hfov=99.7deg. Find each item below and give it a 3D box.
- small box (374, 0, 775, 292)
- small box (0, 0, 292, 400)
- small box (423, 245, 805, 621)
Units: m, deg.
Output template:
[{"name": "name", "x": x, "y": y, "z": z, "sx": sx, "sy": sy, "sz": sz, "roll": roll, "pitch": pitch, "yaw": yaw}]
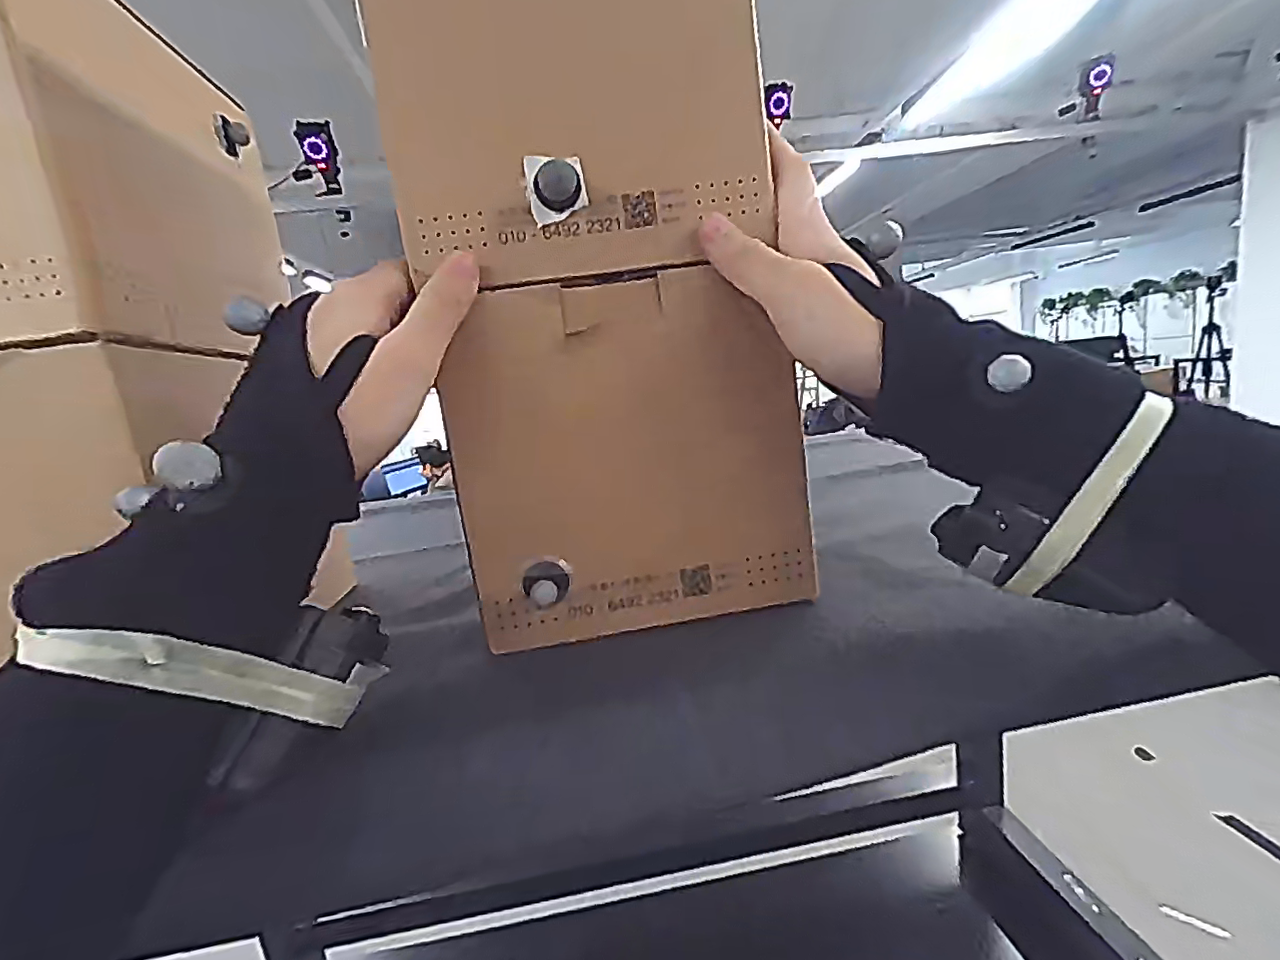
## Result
[{"name": "small box", "x": -0.034, "y": -0.183, "z": 0.311, "sx": 0.168, "sy": 0.176, "sz": 0.179, "roll": -10, "pitch": 10, "yaw": -4}, {"name": "small box", "x": -0.315, "y": -0.137, "z": 0.277, "sx": 0.168, "sy": 0.176, "sz": 0.179, "roll": -9, "pitch": 8, "yaw": -5}, {"name": "small box", "x": -0.011, "y": -0.024, "z": 0.334, "sx": 0.168, "sy": 0.176, "sz": 0.179, "roll": -9, "pitch": 8, "yaw": -5}]
